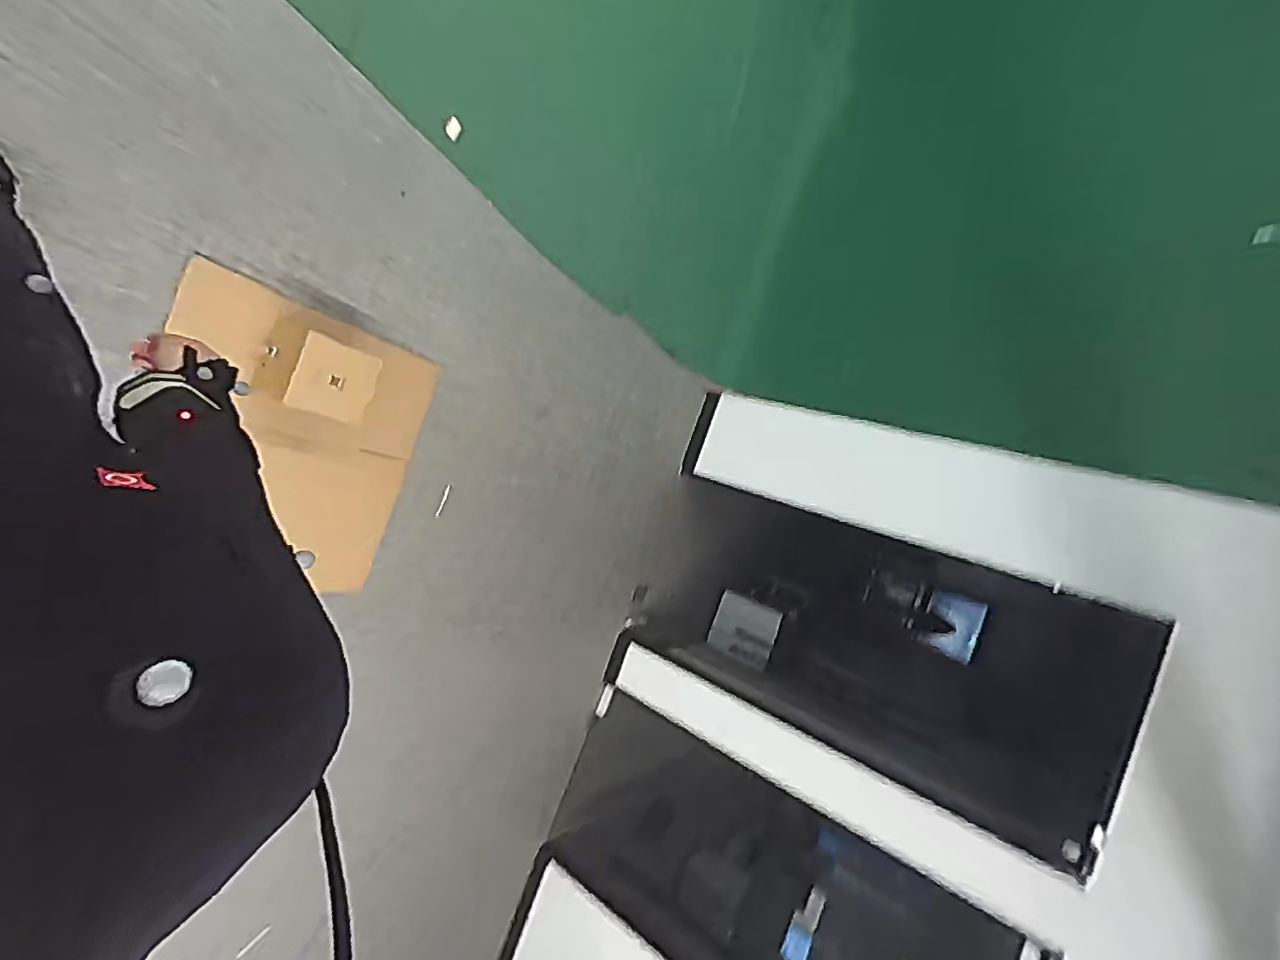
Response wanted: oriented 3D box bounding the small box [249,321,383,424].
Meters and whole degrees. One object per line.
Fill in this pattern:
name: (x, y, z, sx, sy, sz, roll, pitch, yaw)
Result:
small box: (-0.728, -0.244, 1.217, 0.179, 0.176, 0.168, 22, 87, -58)
